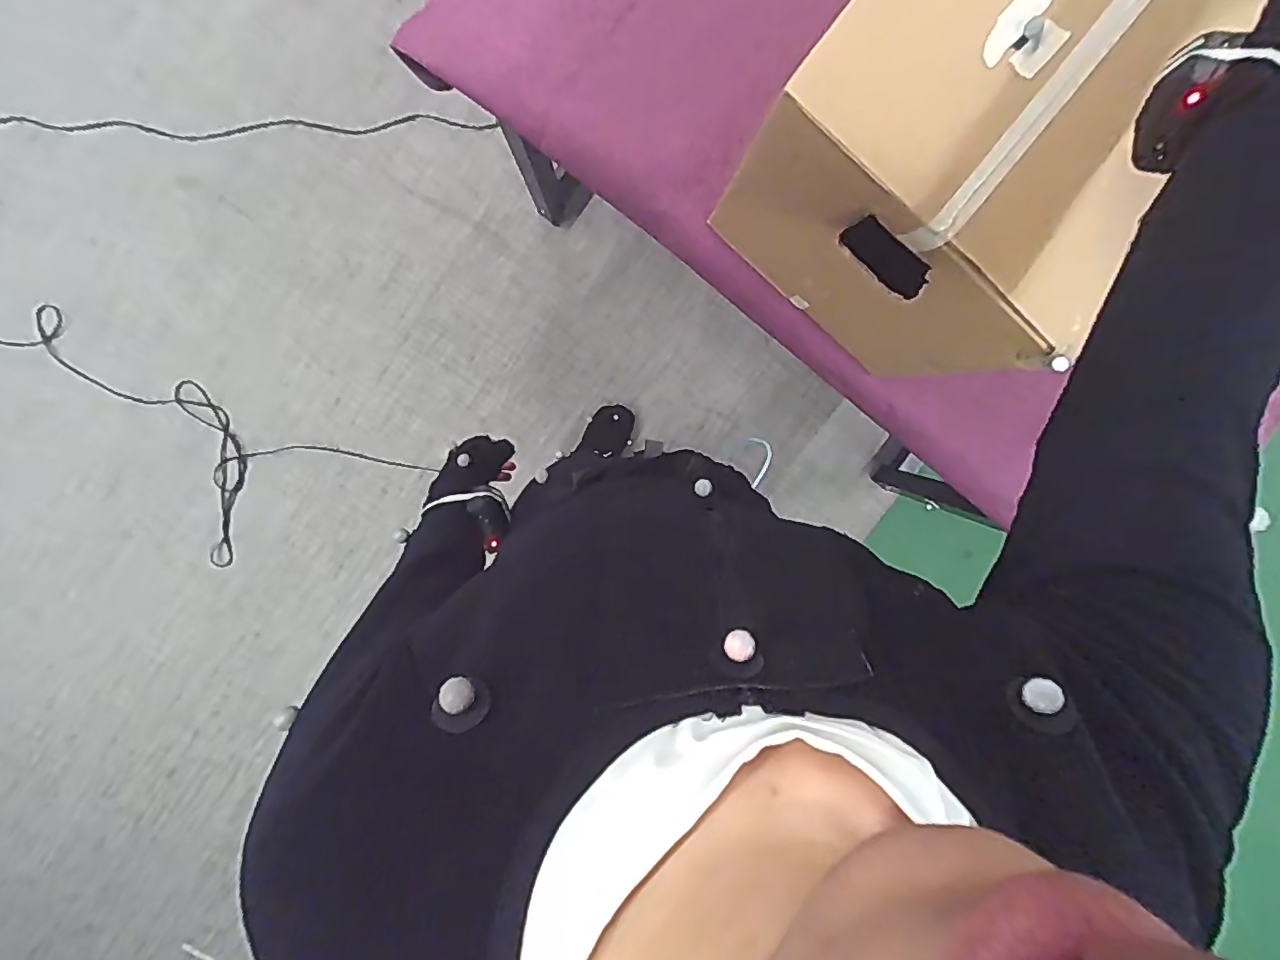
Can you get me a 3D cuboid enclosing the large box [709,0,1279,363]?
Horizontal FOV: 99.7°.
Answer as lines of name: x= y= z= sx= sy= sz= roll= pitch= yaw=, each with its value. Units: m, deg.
large box: x=0.333 y=-0.376 z=0.557 sx=0.320 sy=0.320 sz=0.408 roll=39 pitch=96 yaw=-8
